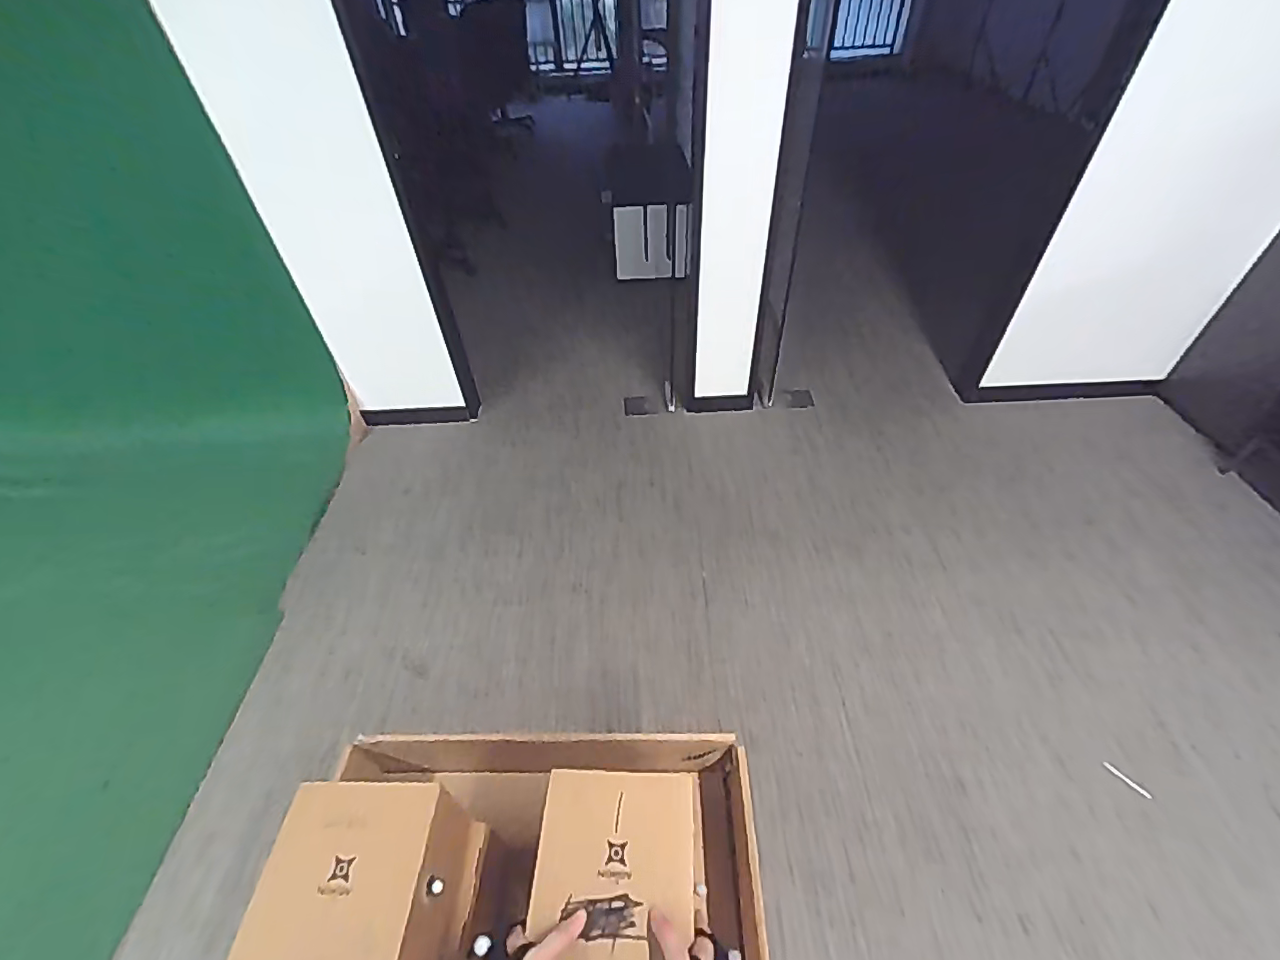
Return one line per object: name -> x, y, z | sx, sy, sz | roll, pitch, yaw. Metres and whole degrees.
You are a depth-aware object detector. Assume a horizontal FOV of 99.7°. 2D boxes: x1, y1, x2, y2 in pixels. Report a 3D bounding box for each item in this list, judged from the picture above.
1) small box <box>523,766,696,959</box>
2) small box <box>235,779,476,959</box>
small box -> -0.020, 0.451, 0.620 | 0.168, 0.176, 0.179 | 0, 45, 5
small box -> -0.304, 0.467, 0.625 | 0.168, 0.176, 0.179 | 0, 45, 3
